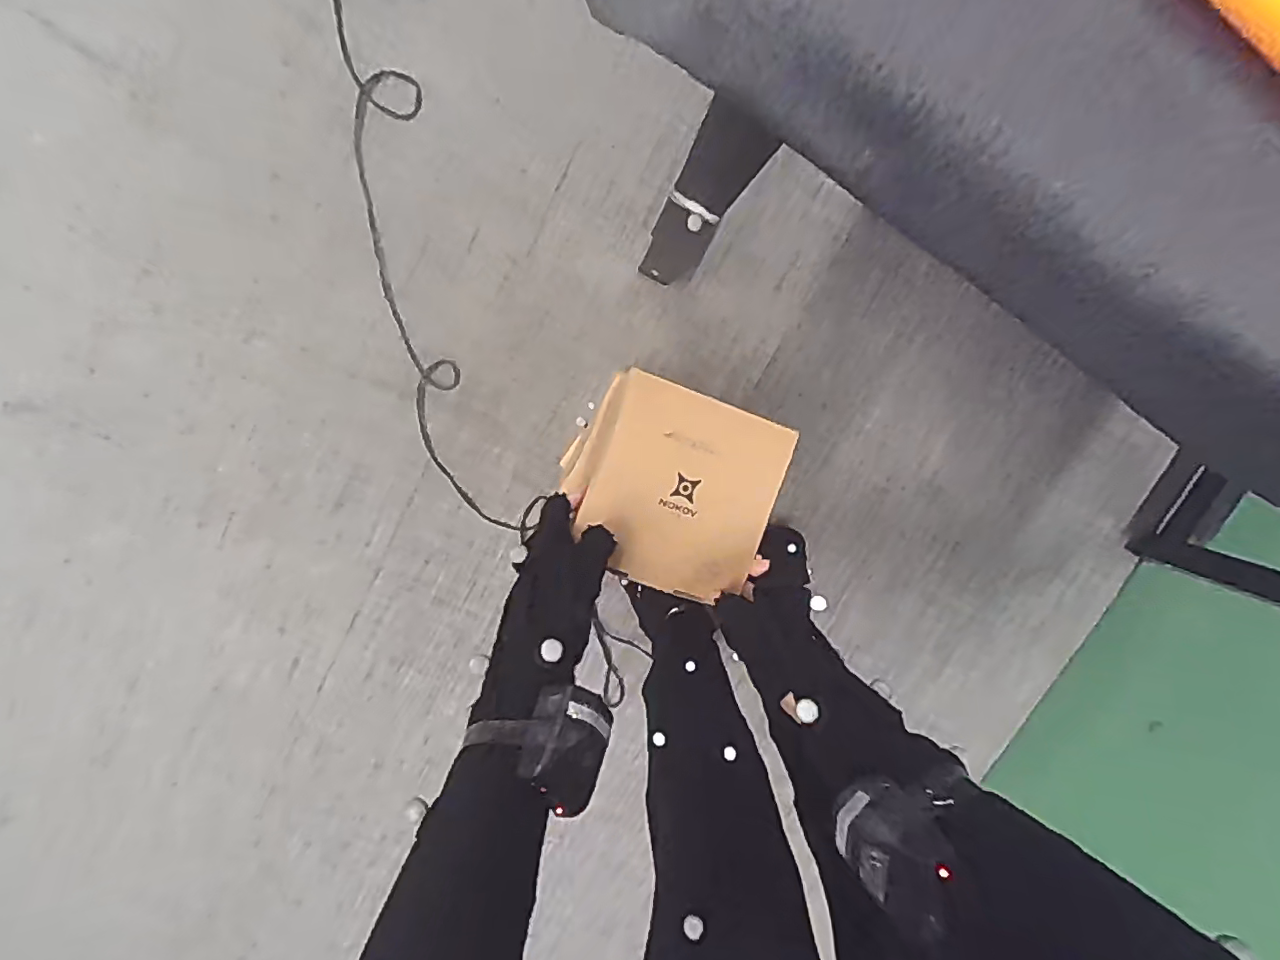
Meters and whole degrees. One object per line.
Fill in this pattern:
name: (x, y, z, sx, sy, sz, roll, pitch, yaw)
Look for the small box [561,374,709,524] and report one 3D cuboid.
small box: (-0.014, -0.061, 0.896, 0.168, 0.176, 0.179, 35, 98, -10)
